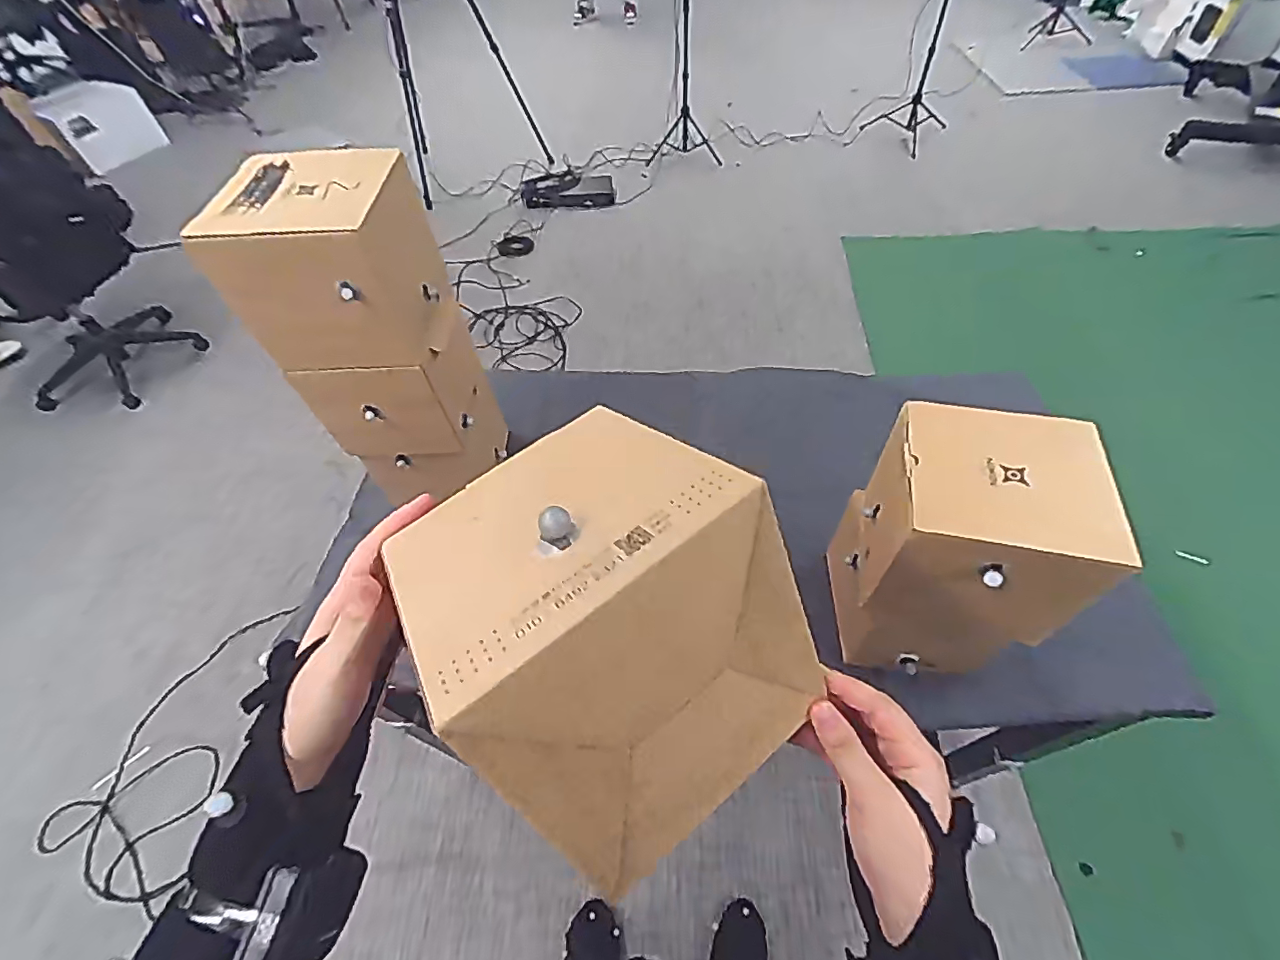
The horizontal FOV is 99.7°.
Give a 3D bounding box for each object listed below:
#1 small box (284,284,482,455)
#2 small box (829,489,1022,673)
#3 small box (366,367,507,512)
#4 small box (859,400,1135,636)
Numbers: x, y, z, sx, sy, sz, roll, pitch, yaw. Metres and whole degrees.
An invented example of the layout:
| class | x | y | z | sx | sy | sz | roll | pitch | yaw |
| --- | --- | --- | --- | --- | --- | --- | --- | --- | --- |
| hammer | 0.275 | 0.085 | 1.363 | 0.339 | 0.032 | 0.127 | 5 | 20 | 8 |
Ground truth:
| class | x | y | z | sx | sy | sz | roll | pitch | yaw |
| --- | --- | --- | --- | --- | --- | --- | --- | --- | --- |
| small box | -0.336 | -0.149 | 0.753 | 0.179 | 0.176 | 0.168 | -2 | 55 | 3 |
| small box | 0.352 | 0.130 | 0.696 | 0.168 | 0.176 | 0.179 | 1 | 53 | 6 |
| small box | -0.326 | -0.065 | 0.897 | 0.168 | 0.176 | 0.179 | -3 | 54 | 2 |
| small box | 0.340 | 0.044 | 0.558 | 0.179 | 0.176 | 0.168 | 9 | 53 | 13 |
